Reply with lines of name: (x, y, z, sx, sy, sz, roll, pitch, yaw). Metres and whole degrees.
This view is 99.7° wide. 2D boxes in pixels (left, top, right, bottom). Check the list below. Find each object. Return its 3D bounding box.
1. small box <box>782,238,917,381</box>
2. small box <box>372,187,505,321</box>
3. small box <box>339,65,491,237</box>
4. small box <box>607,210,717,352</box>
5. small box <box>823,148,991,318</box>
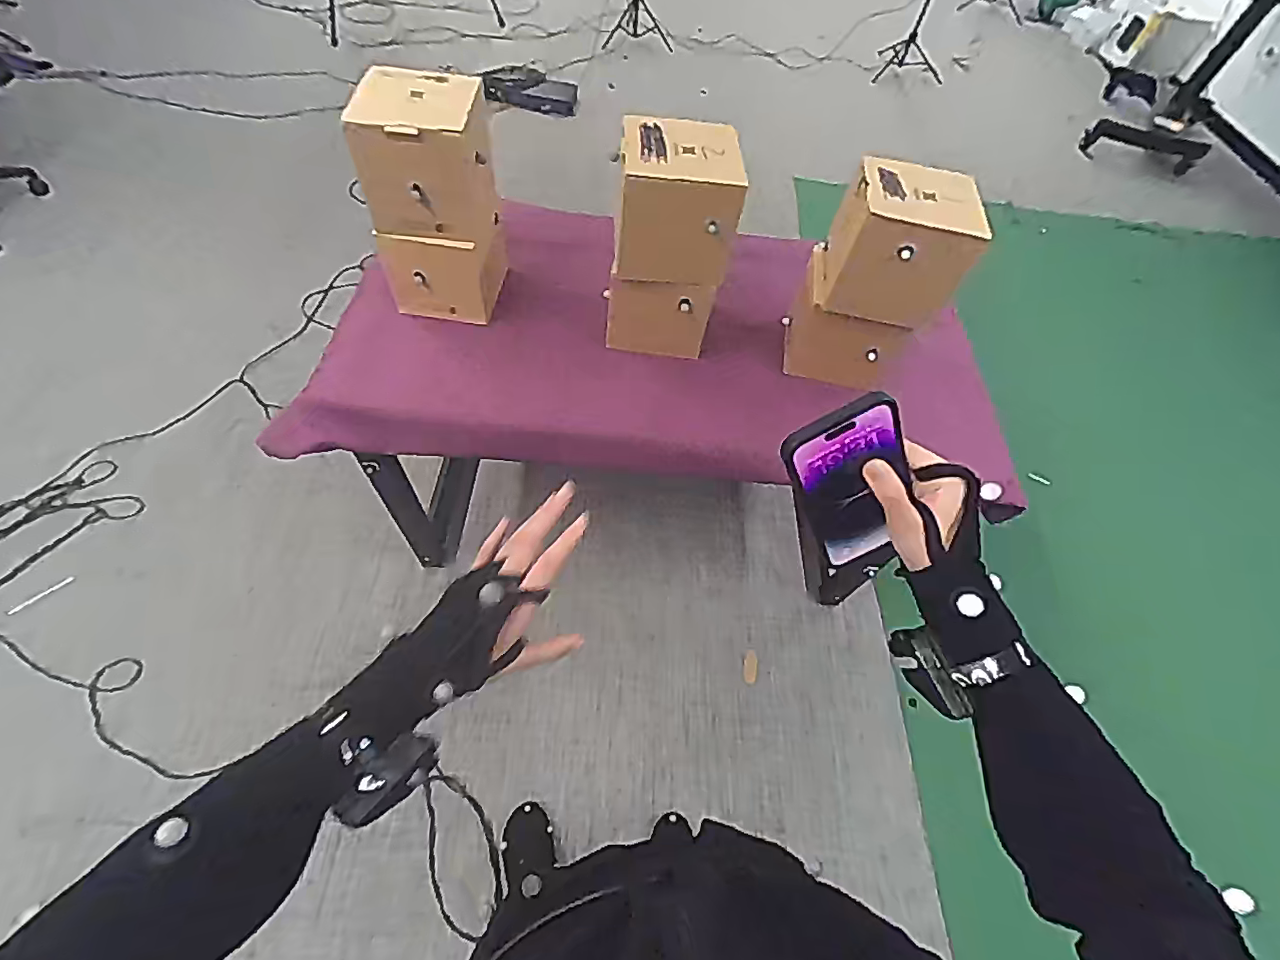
small box: (0.375, -0.304, 0.986, 0.179, 0.176, 0.168, 11, 57, 2)
small box: (-0.349, -0.413, 0.981, 0.168, 0.176, 0.179, 7, 57, -2)
small box: (-0.335, -0.507, 0.847, 0.168, 0.176, 0.179, 3, 58, -5)
small box: (0.037, -0.354, 0.981, 0.179, 0.176, 0.168, 6, 58, -2)
small box: (0.396, -0.377, 0.840, 0.179, 0.176, 0.168, 12, 57, 1)
